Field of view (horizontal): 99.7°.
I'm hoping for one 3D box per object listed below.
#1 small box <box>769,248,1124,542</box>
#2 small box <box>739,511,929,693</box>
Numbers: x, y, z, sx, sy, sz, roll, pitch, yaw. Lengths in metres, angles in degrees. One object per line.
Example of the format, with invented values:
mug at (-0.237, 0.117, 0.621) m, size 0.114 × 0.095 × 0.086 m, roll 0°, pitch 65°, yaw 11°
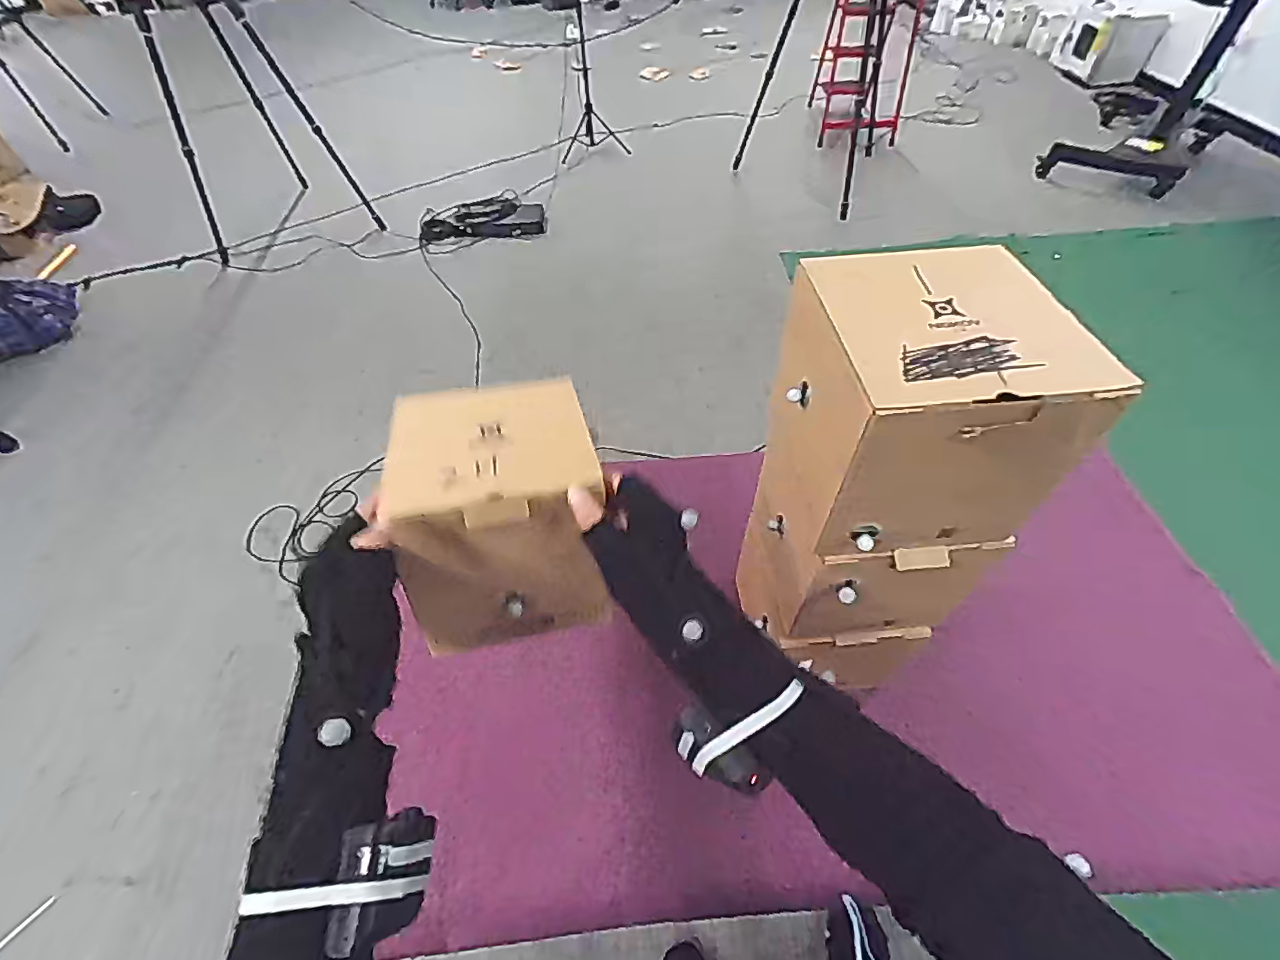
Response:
small box at (0.212, -0.061, 0.440) m, size 0.168 × 0.176 × 0.179 m, roll -5°, pitch 50°, yaw -1°
small box at (0.226, 0.154, 0.690) m, size 0.168 × 0.176 × 0.179 m, roll -4°, pitch 52°, yaw 0°
